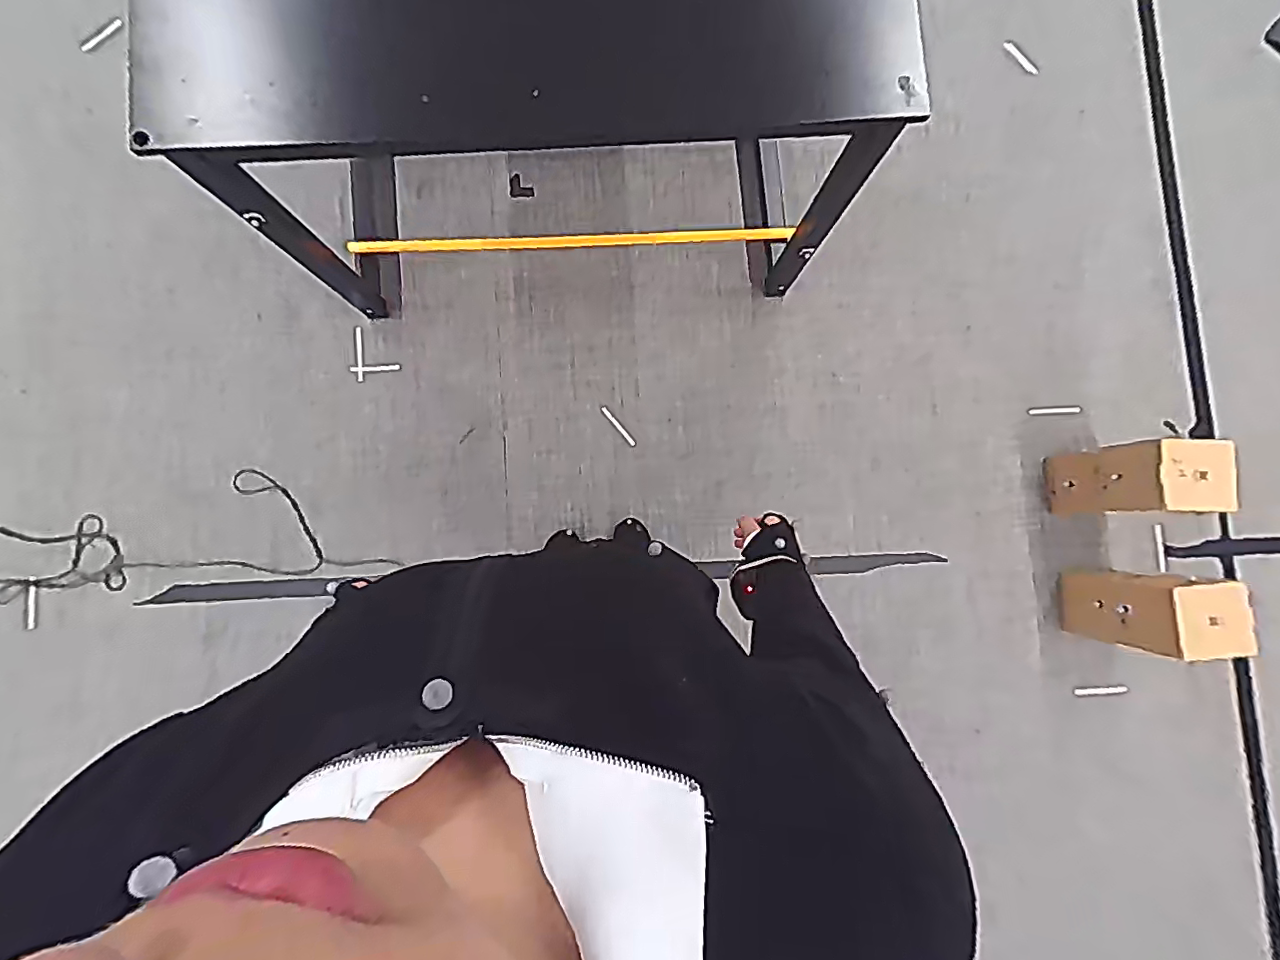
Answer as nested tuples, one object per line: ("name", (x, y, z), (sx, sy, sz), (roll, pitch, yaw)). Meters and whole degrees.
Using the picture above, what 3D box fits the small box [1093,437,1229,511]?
("small box", (1.263, -0.009, 1.321), (0.179, 0.176, 0.168), (1, 85, -2))

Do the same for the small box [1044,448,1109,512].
("small box", (1.254, 0.001, 1.486), (0.179, 0.176, 0.168), (-4, 86, -2))

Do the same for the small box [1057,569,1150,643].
("small box", (1.275, 0.334, 1.467), (0.168, 0.176, 0.179), (0, 87, -2))

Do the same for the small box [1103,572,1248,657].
("small box", (1.282, 0.318, 1.305), (0.179, 0.176, 0.168), (-5, 85, -1))
